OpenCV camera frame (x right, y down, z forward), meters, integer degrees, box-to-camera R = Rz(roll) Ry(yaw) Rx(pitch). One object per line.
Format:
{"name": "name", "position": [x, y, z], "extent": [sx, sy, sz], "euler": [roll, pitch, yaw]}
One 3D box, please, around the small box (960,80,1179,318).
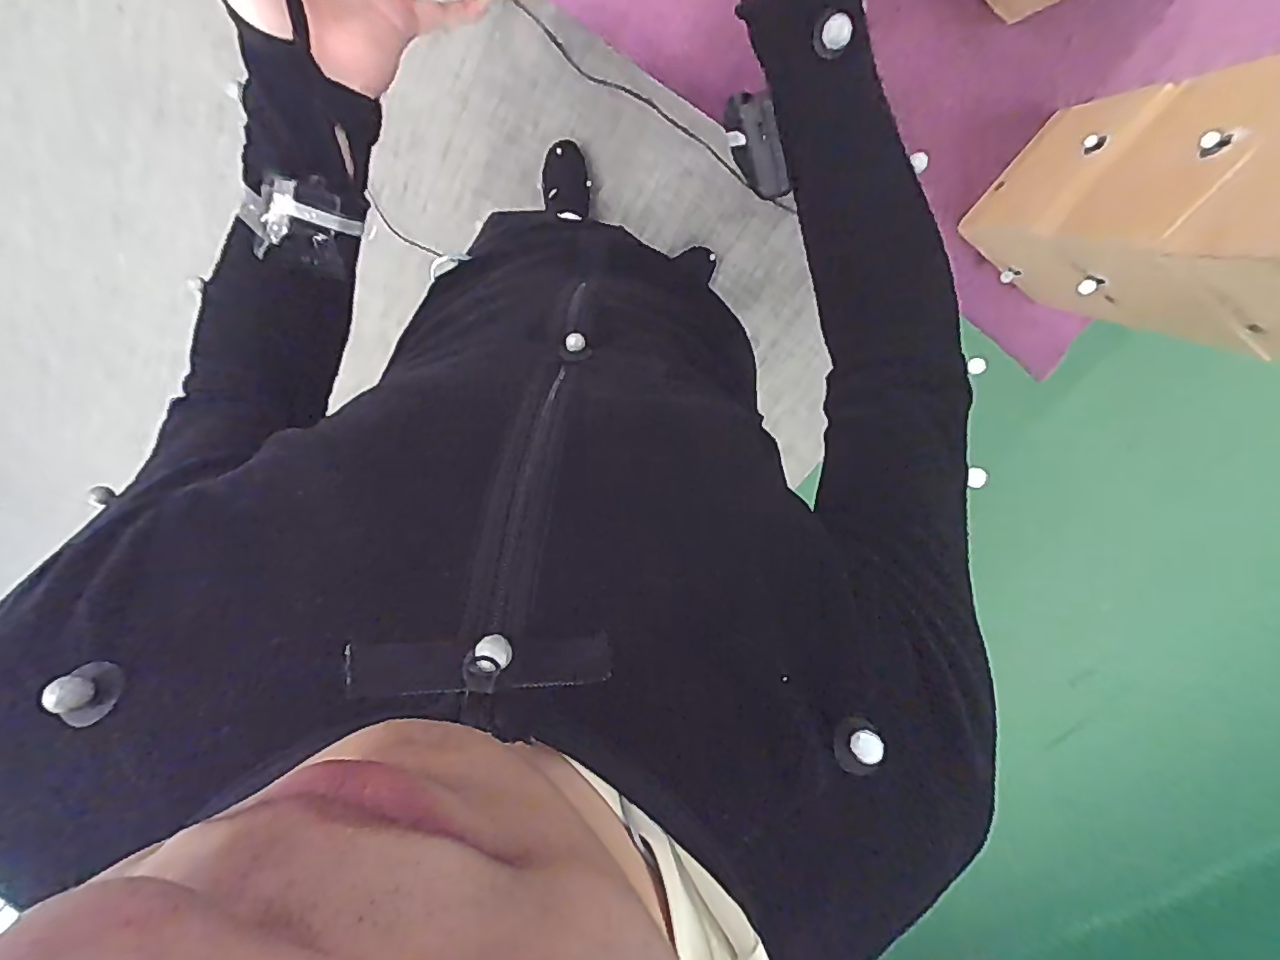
{"name": "small box", "position": [0.538, -0.327, 0.648], "extent": [0.179, 0.176, 0.168], "euler": [32, 113, -14]}

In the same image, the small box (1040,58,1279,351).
{"name": "small box", "position": [0.538, -0.255, 0.502], "extent": [0.168, 0.176, 0.179], "euler": [33, 113, -13]}
